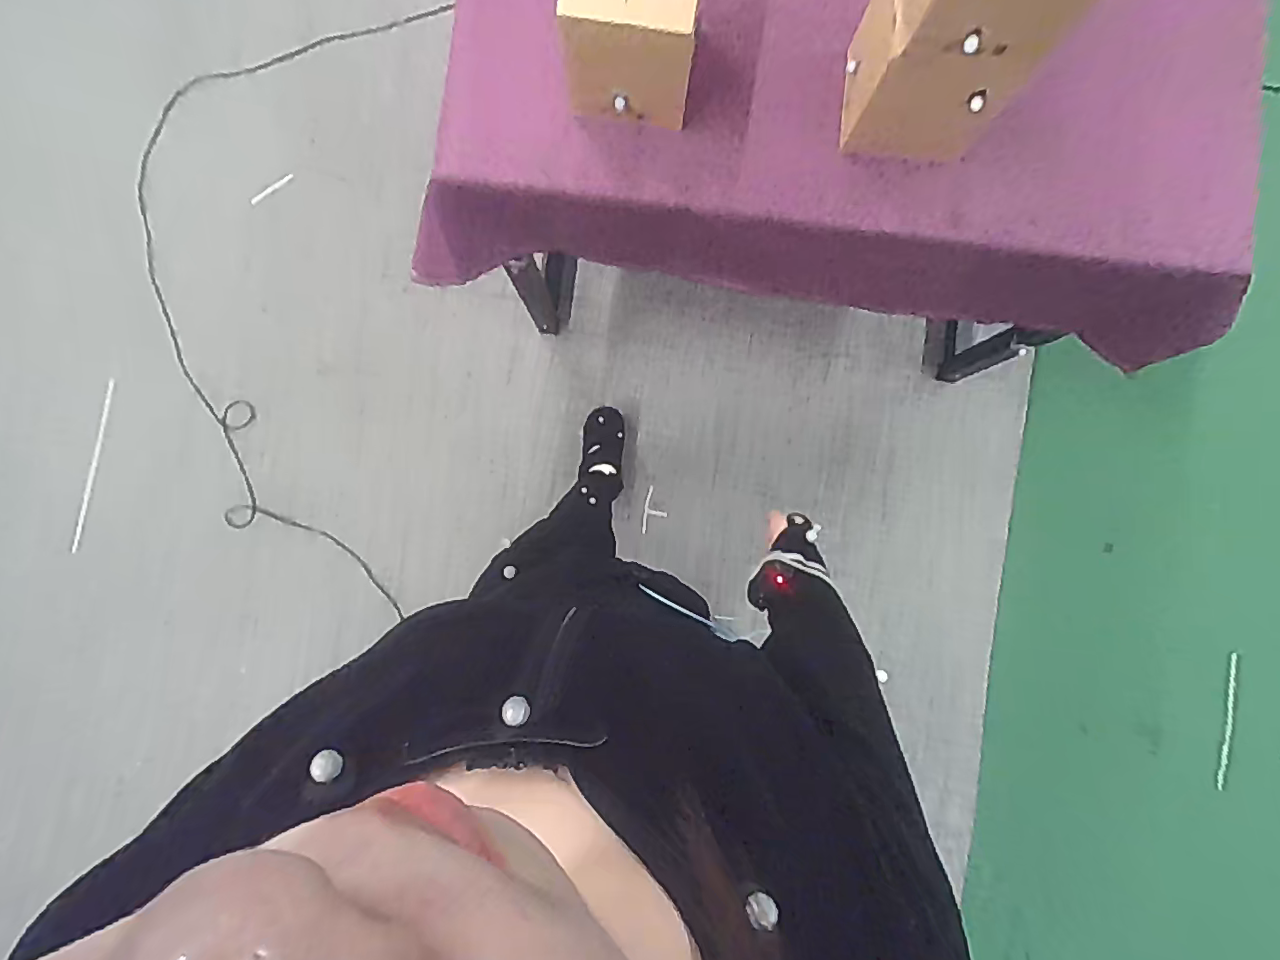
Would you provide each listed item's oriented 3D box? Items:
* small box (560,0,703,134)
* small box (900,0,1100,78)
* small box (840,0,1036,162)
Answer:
[{"bbox_3d":[-0.004,-0.614,0.725,0.168,0.176,0.179,9,87,0],"label":"small box"},{"bbox_3d":[0.392,-0.572,0.561,0.168,0.176,0.179,6,87,1],"label":"small box"},{"bbox_3d":[0.392,-0.559,0.723,0.179,0.176,0.168,7,86,0],"label":"small box"}]
